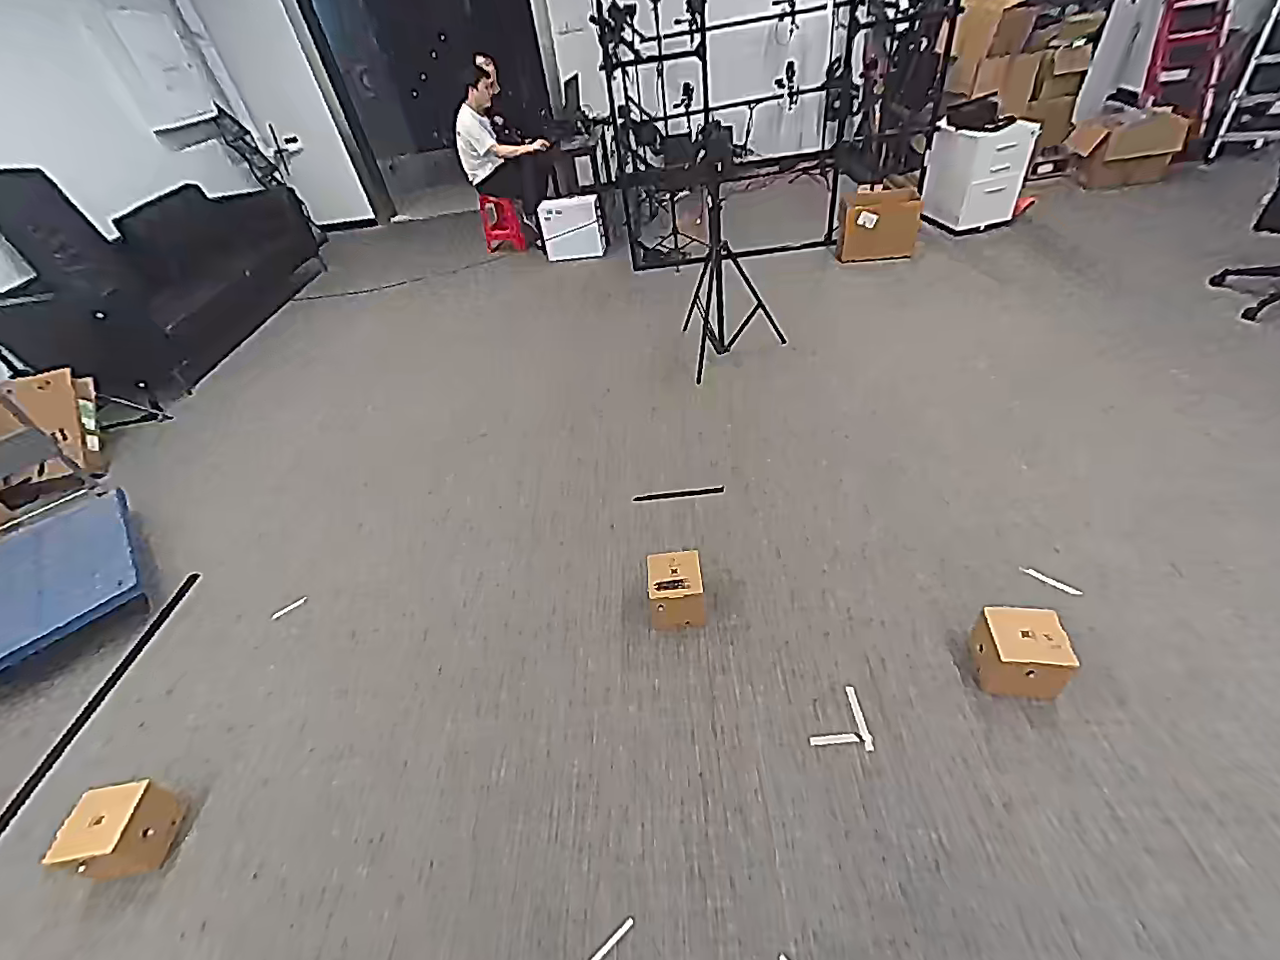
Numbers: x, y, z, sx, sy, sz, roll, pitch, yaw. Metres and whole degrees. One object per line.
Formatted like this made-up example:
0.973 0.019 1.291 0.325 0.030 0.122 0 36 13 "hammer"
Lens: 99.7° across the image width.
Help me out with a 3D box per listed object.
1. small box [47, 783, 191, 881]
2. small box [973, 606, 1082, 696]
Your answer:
-1.337 0.917 1.407 0.179 0.176 0.168 -11 41 0 "small box"
1.014 0.457 1.439 0.179 0.176 0.168 1 43 12 "small box"
